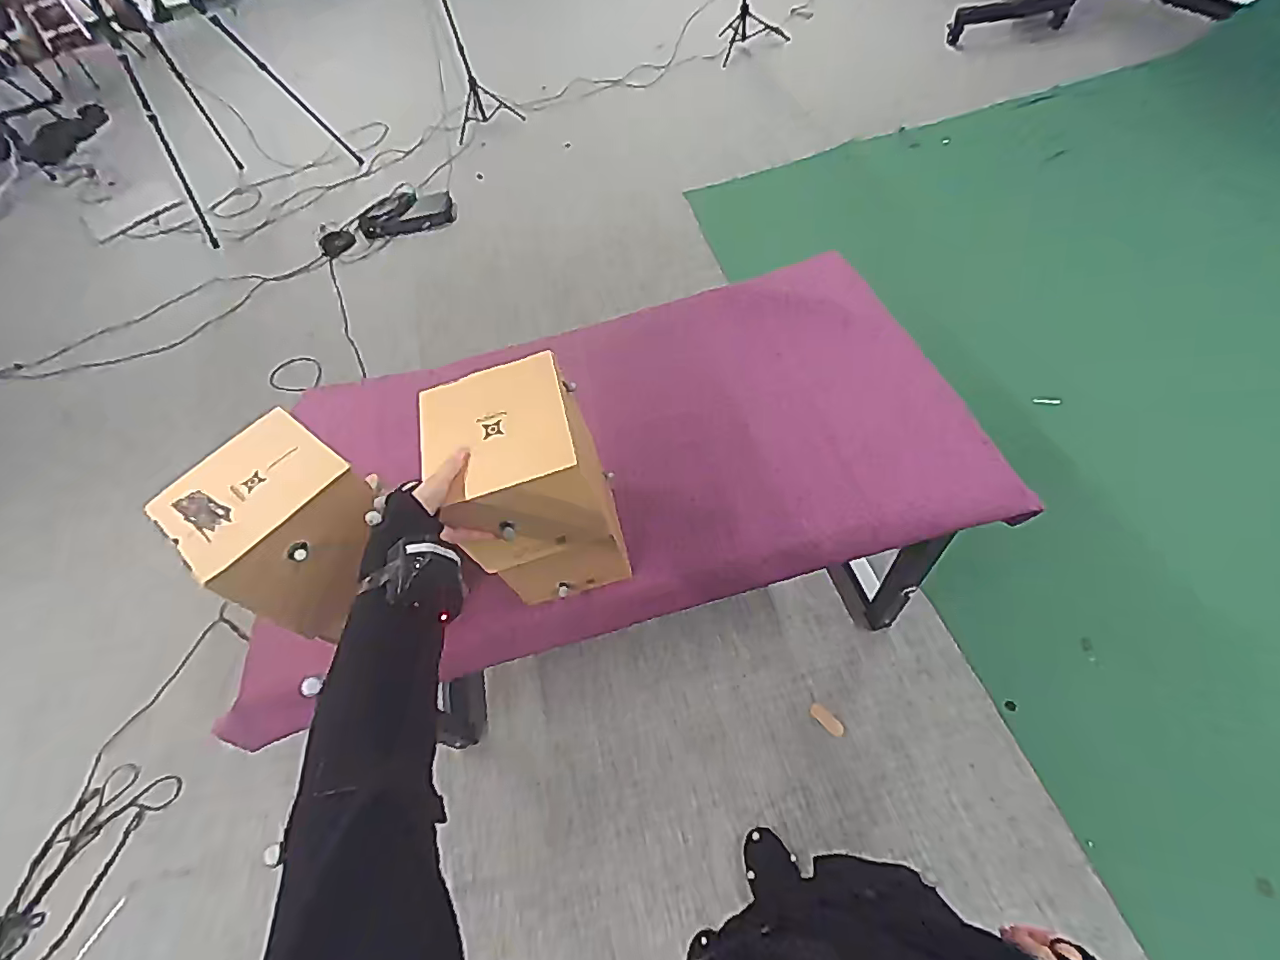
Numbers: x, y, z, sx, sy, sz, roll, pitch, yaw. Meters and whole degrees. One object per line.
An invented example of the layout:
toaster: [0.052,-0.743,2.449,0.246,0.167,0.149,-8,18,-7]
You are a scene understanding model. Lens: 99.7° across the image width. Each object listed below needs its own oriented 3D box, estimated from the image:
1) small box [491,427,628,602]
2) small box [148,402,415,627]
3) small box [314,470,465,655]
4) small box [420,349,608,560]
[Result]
small box: [-0.123,0.055,0.798,0.168,0.176,0.179,-16,56,1]
small box: [-0.415,0.046,0.653,0.168,0.176,0.179,31,65,27]
small box: [-0.394,0.126,0.796,0.179,0.176,0.168,-37,58,-15]
small box: [-0.146,-0.020,0.654,0.168,0.176,0.179,-18,56,0]
